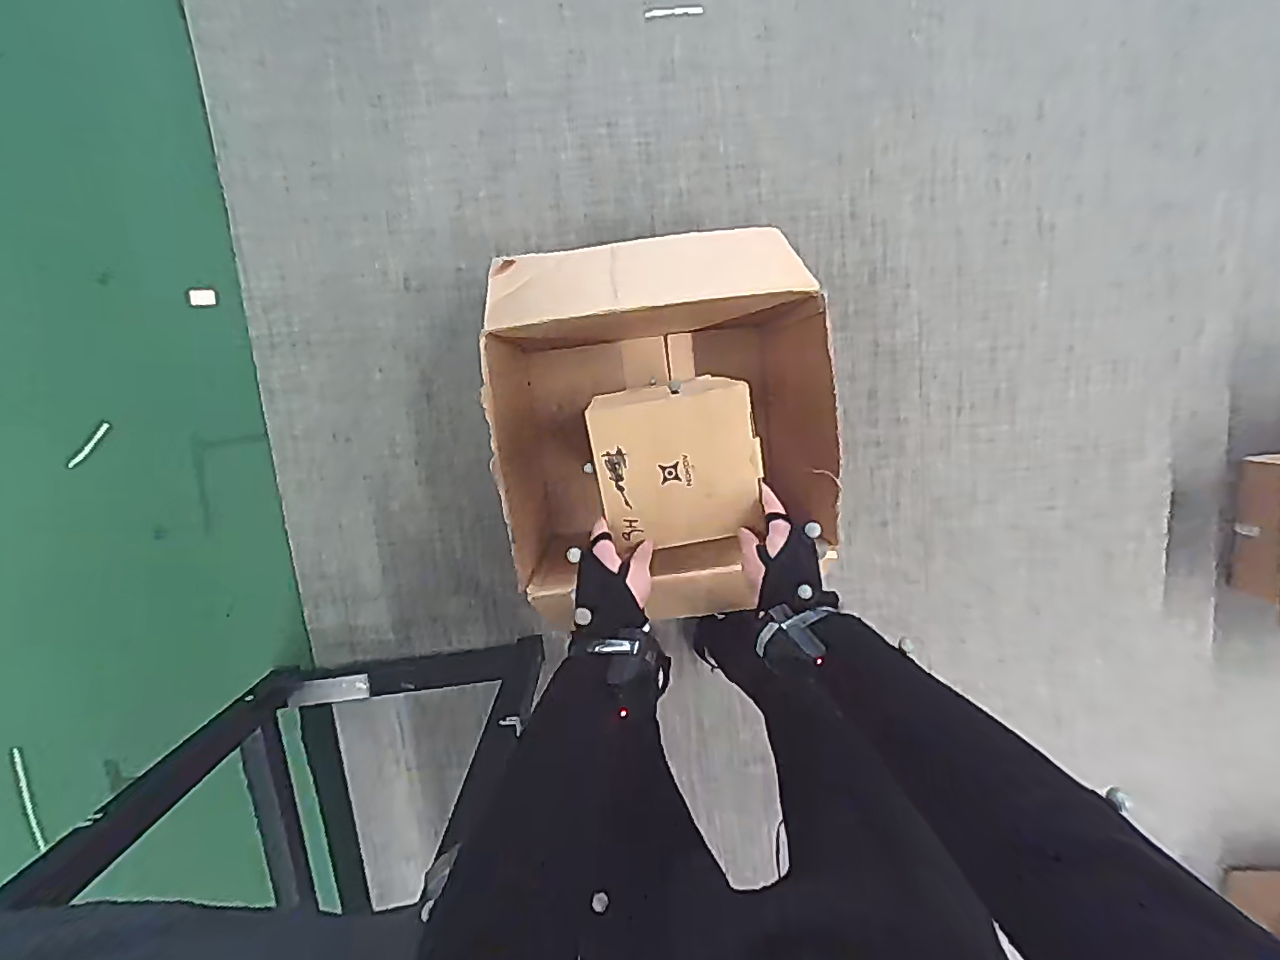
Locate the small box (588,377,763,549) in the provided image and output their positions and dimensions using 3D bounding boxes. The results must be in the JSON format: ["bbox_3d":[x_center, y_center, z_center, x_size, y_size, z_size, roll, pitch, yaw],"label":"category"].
[{"bbox_3d":[0.039,-0.032,0.681,0.179,0.176,0.168,-12,102,1],"label":"small box"}]
